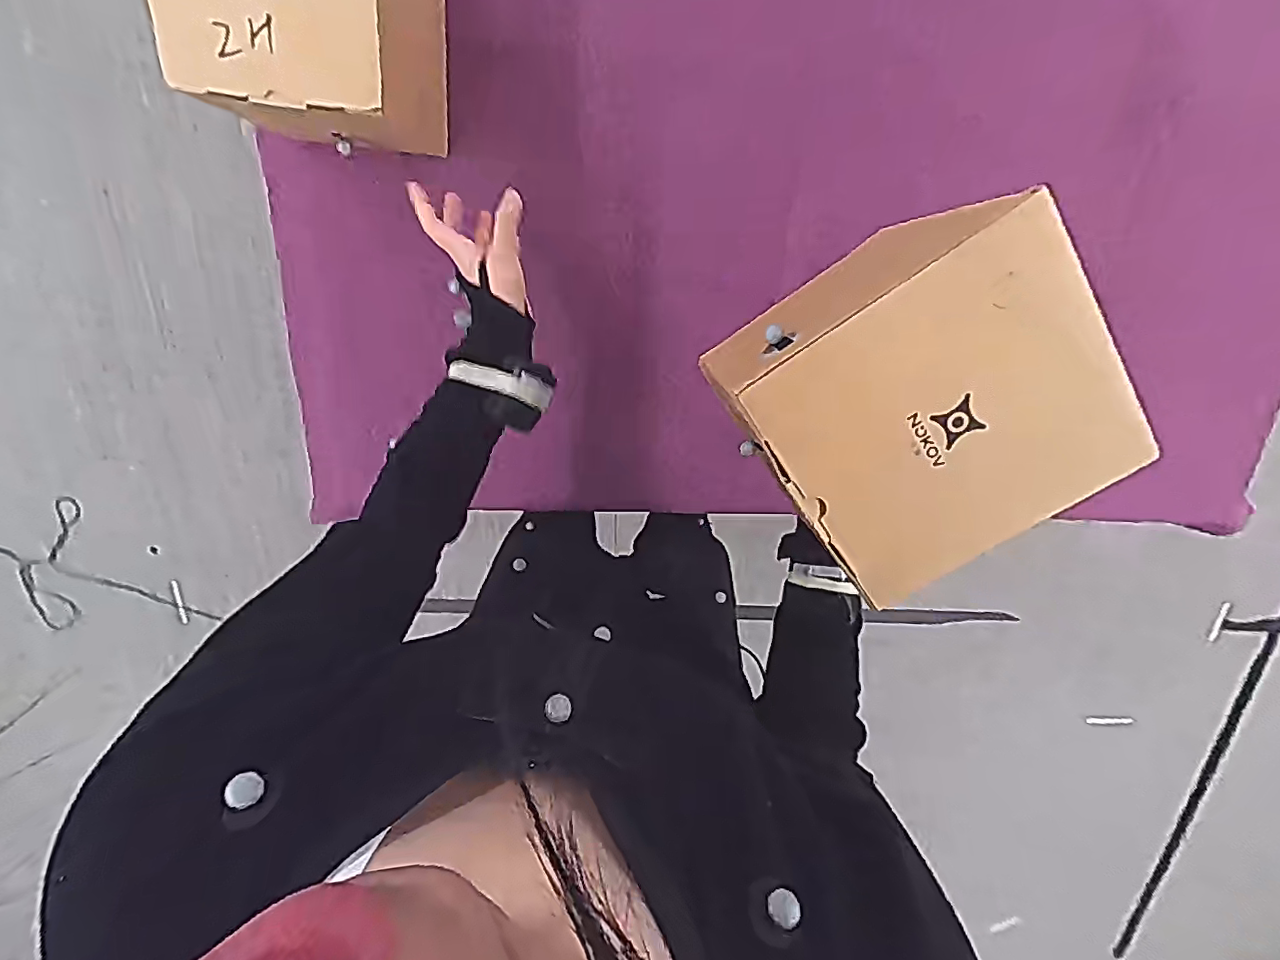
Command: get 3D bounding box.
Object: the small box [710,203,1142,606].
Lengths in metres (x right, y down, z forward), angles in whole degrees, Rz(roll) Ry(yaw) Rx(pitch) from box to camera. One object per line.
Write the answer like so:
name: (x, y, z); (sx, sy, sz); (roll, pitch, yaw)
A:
small box: (0.168, -0.056, 0.373); (0.179, 0.176, 0.168); (-34, 106, 11)

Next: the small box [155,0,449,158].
small box: (-0.272, -0.400, 0.465); (0.168, 0.176, 0.179); (5, 111, -3)
